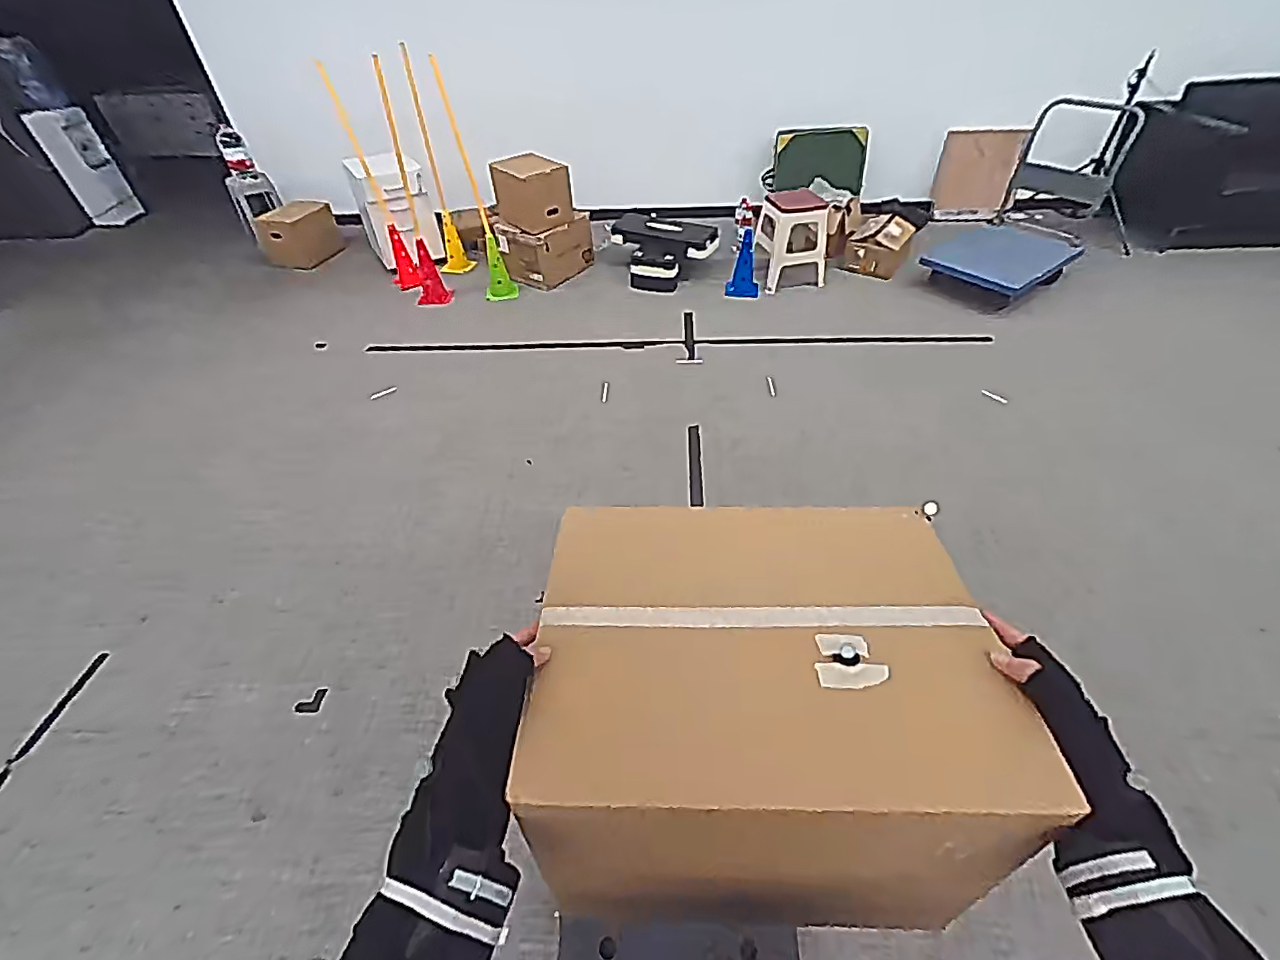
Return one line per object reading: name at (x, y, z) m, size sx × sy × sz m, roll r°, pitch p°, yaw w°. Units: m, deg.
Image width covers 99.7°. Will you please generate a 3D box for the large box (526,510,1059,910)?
large box at (0.116, 0.249, 0.606) m, size 0.408 × 0.320 × 0.320 m, roll -1°, pitch 39°, yaw 2°
